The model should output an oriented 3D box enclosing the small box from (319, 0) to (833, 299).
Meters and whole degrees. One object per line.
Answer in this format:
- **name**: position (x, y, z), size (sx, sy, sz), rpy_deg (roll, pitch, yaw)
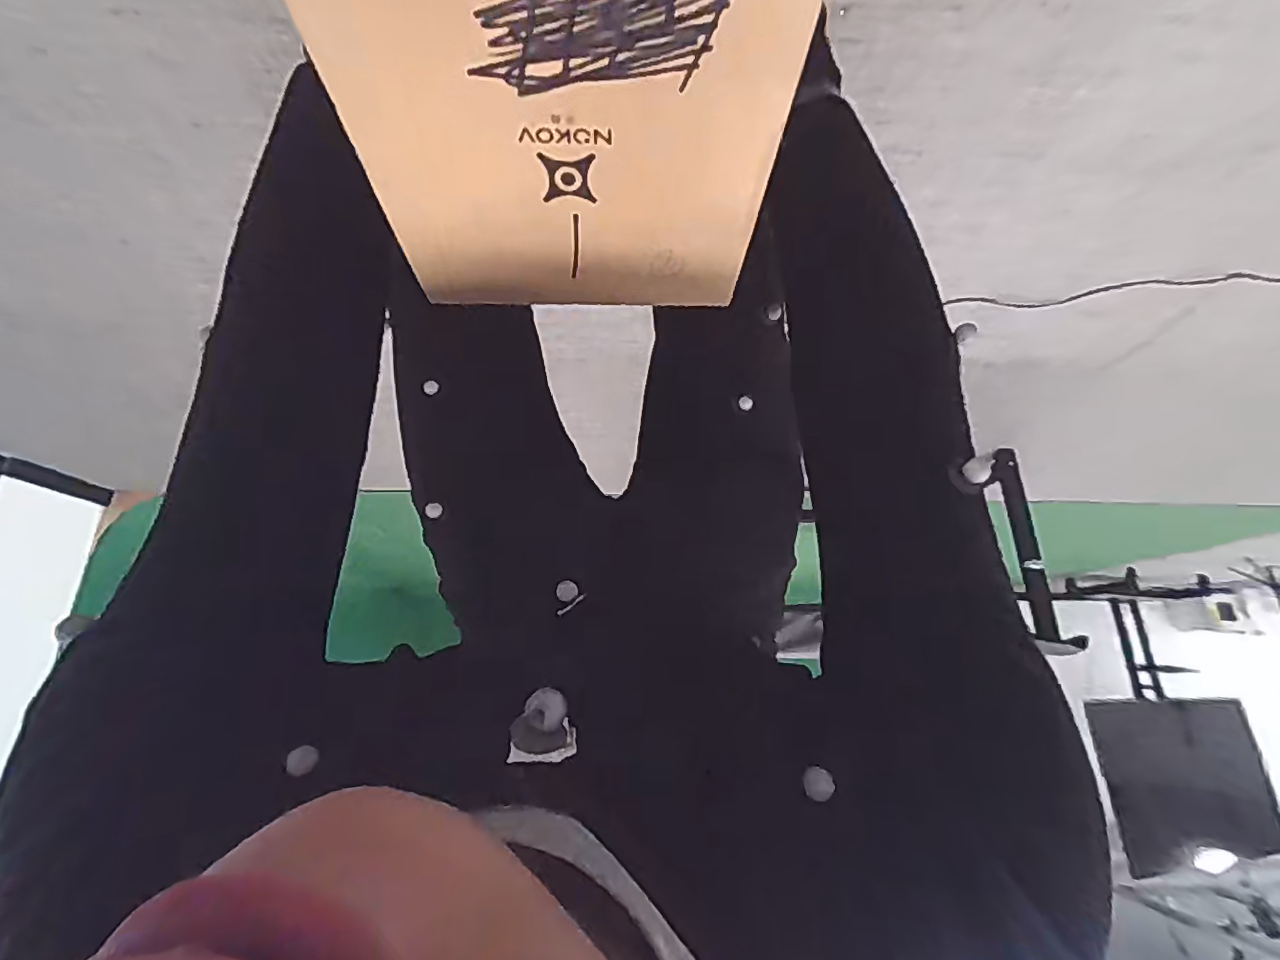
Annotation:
- **small box**: position (-0.025, -0.208, 0.251), size (0.168, 0.176, 0.179), rpy_deg (-1, 160, -3)
